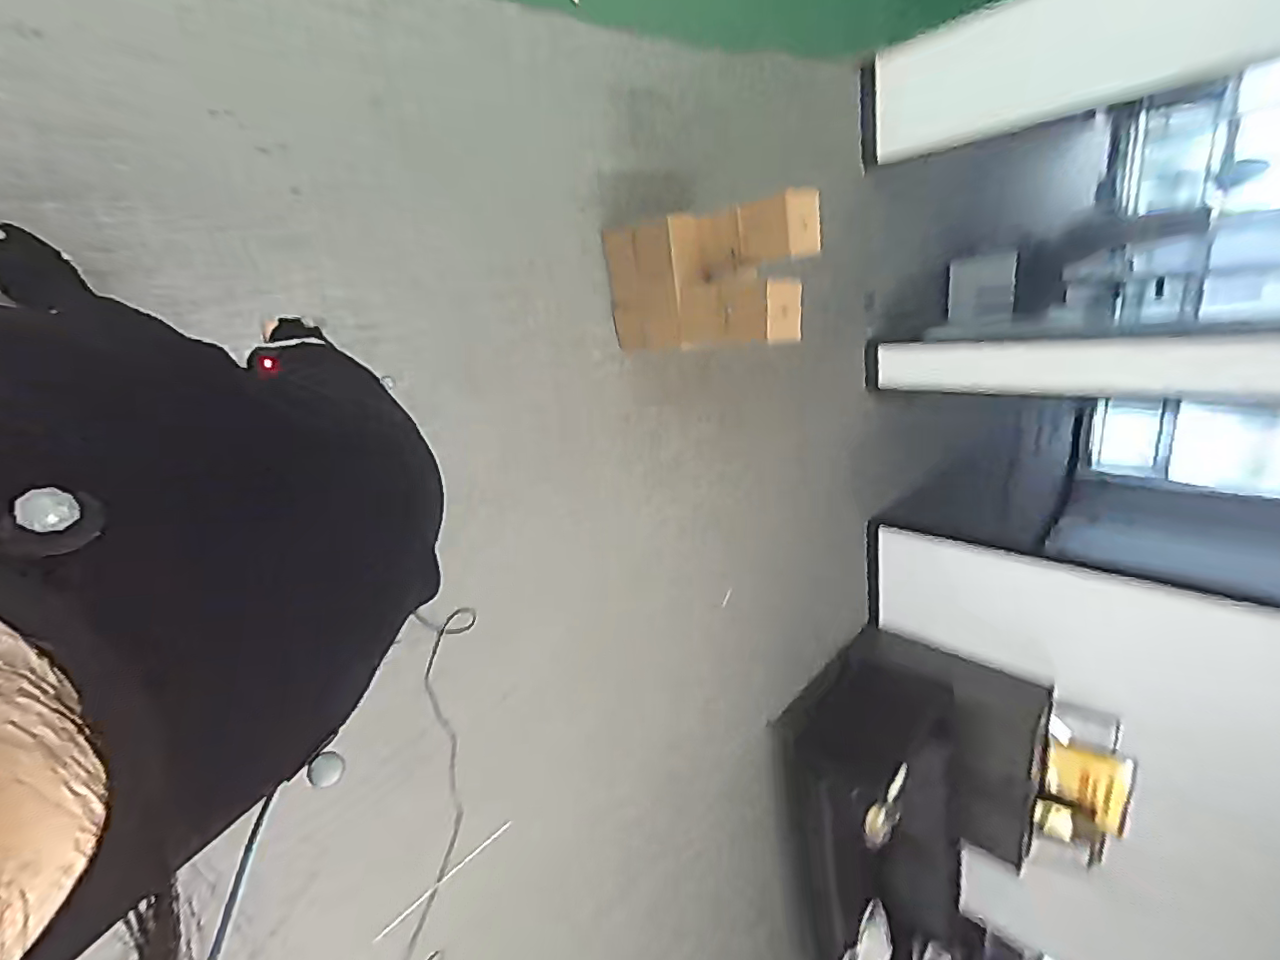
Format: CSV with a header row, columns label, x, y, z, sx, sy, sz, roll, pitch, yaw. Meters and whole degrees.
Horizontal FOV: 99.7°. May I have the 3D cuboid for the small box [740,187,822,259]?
label,x,y,z,sx,sy,sz,roll,pitch,yaw
small box,0.414,-0.752,1.586,0.179,0.176,0.168,-26,116,-38

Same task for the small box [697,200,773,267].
label,x,y,z,sx,sy,sz,roll,pitch,yaw
small box,0.301,-0.774,1.702,0.168,0.176,0.179,-29,118,-38

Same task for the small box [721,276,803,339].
label,x,y,z,sx,sy,sz,roll,pitch,yaw
small box,0.357,-0.502,1.583,0.179,0.176,0.168,-17,111,-41
